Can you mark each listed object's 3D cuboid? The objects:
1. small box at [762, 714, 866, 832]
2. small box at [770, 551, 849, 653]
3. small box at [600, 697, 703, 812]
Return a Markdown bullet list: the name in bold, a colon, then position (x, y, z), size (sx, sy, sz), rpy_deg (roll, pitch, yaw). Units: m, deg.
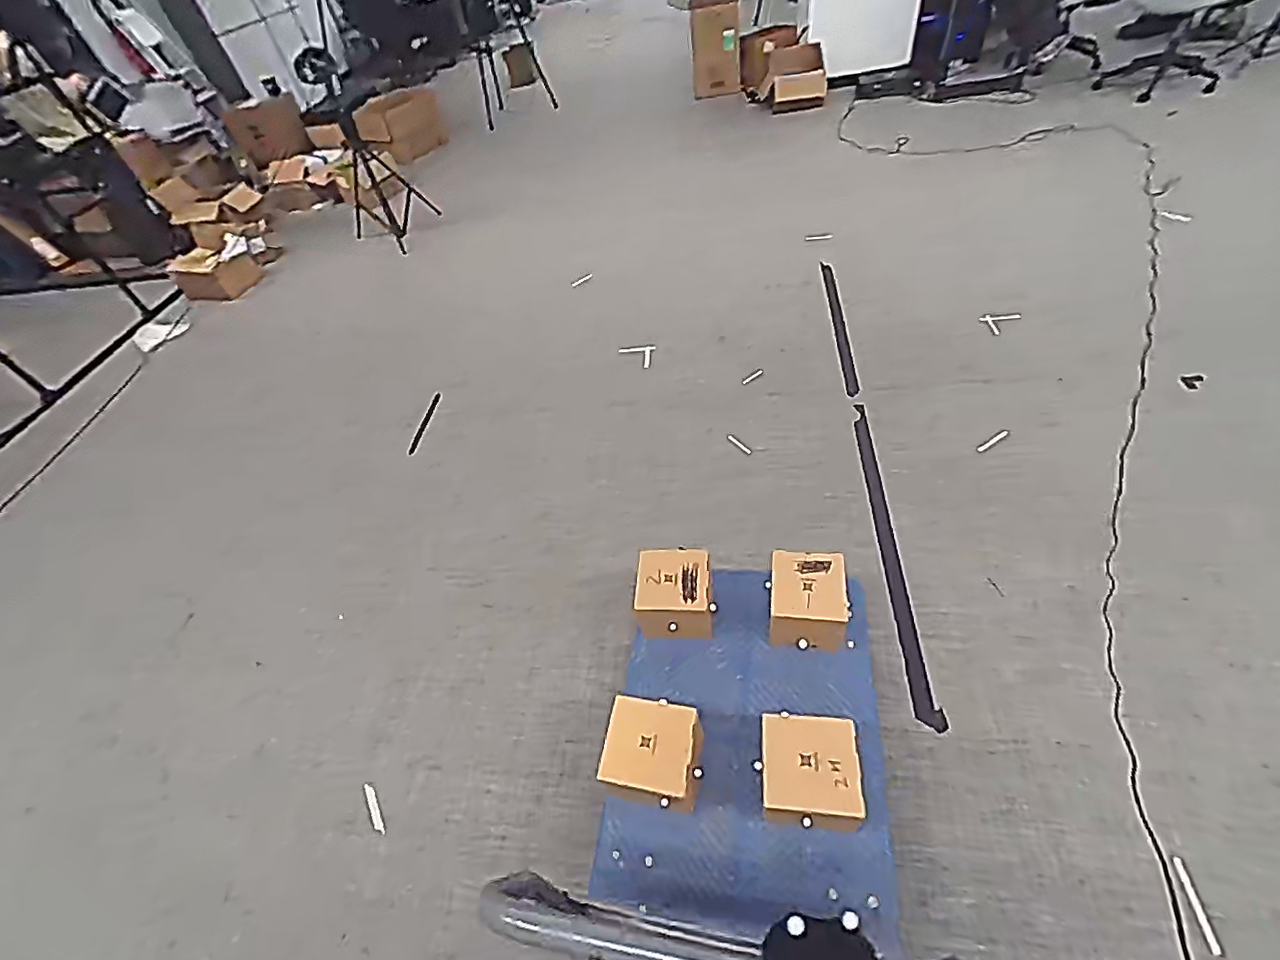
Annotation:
- **small box**: position (0.334, 0.579, 1.066), size (0.179, 0.176, 0.168), rpy_deg (-1, 49, 12)
- **small box**: position (0.402, 0.292, 1.302), size (0.168, 0.176, 0.179), rpy_deg (2, 51, 14)
- **small box**: position (0.032, 0.578, 1.135), size (0.179, 0.176, 0.168), rpy_deg (4, 50, 14)
